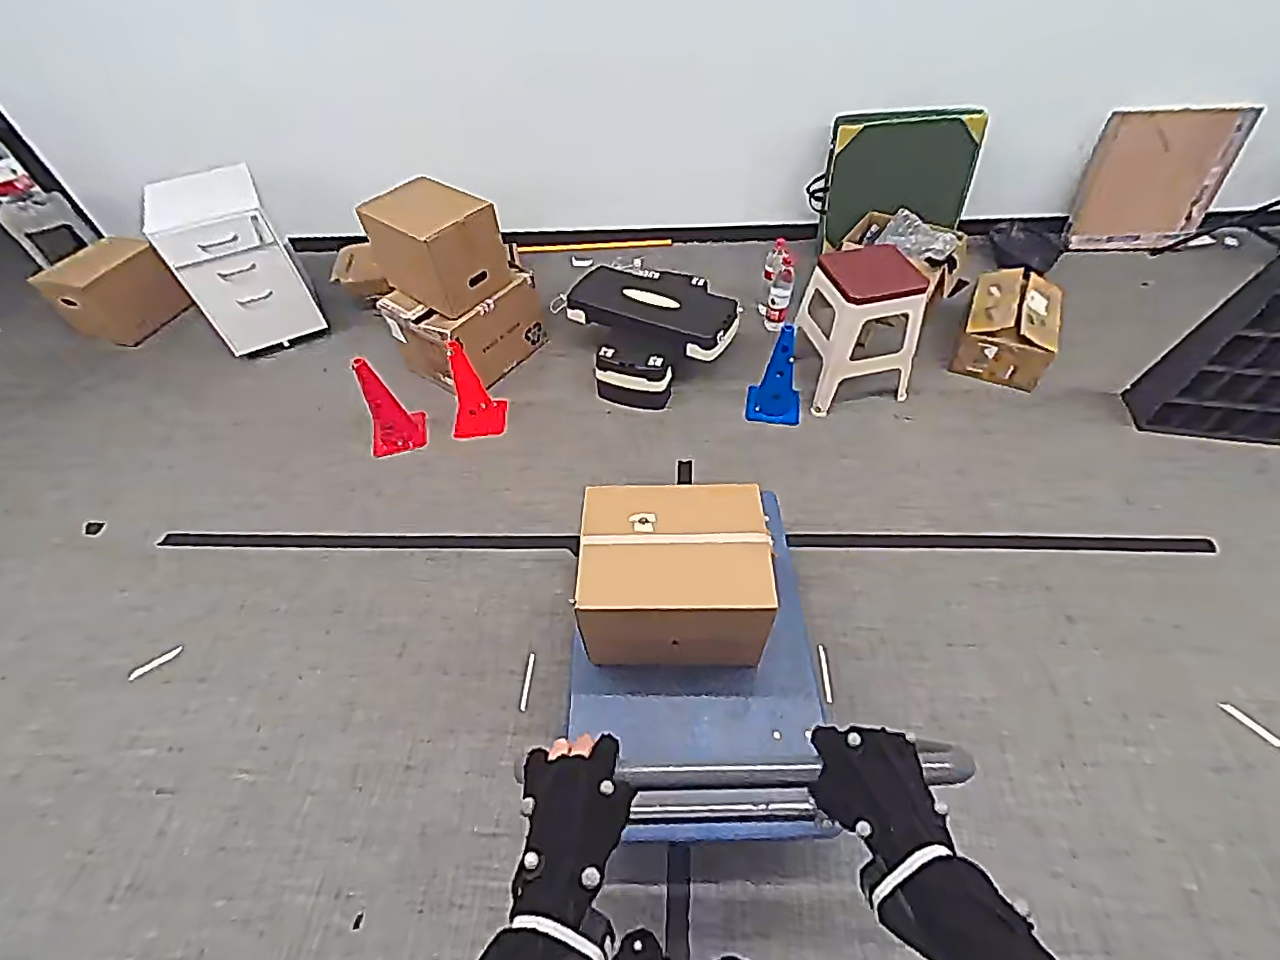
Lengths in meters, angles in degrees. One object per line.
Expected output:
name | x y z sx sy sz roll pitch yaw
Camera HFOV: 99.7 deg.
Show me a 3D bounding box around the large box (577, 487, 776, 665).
large box | 0.081 0.235 1.279 0.408 0.320 0.320 -2 51 3
